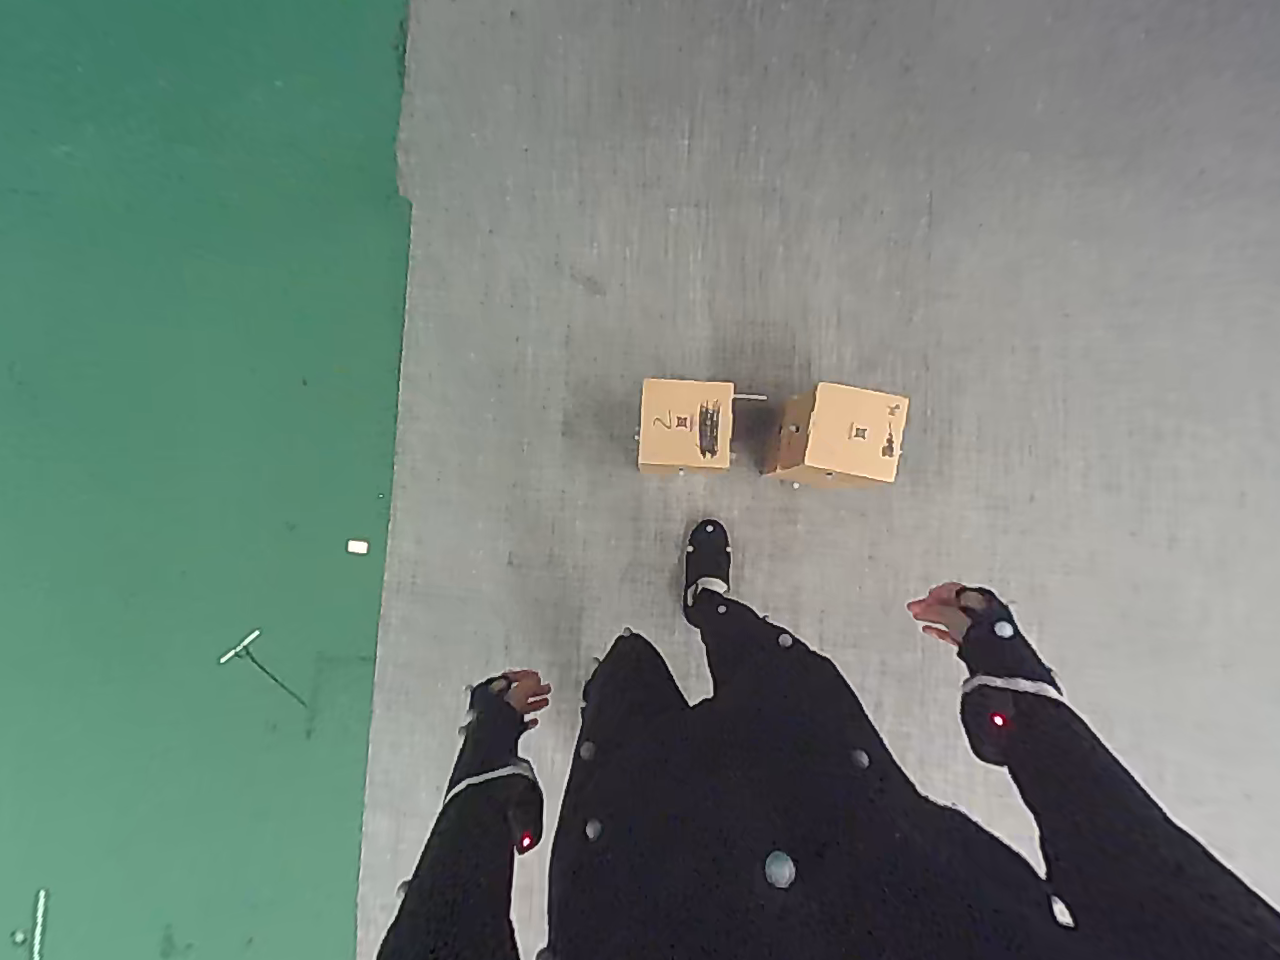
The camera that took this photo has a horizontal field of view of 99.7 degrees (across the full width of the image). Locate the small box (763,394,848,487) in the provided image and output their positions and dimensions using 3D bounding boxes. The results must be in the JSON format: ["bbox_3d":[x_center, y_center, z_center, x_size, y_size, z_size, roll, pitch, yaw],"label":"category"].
[{"bbox_3d":[0.395,-0.086,1.266,0.168,0.176,0.179,12,87,3],"label":"small box"}]

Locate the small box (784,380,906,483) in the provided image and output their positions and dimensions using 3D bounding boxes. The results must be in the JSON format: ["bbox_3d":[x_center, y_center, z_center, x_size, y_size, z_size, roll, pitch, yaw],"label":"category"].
[{"bbox_3d":[0.406,-0.090,1.100,0.179,0.176,0.168,12,87,3],"label":"small box"}]
